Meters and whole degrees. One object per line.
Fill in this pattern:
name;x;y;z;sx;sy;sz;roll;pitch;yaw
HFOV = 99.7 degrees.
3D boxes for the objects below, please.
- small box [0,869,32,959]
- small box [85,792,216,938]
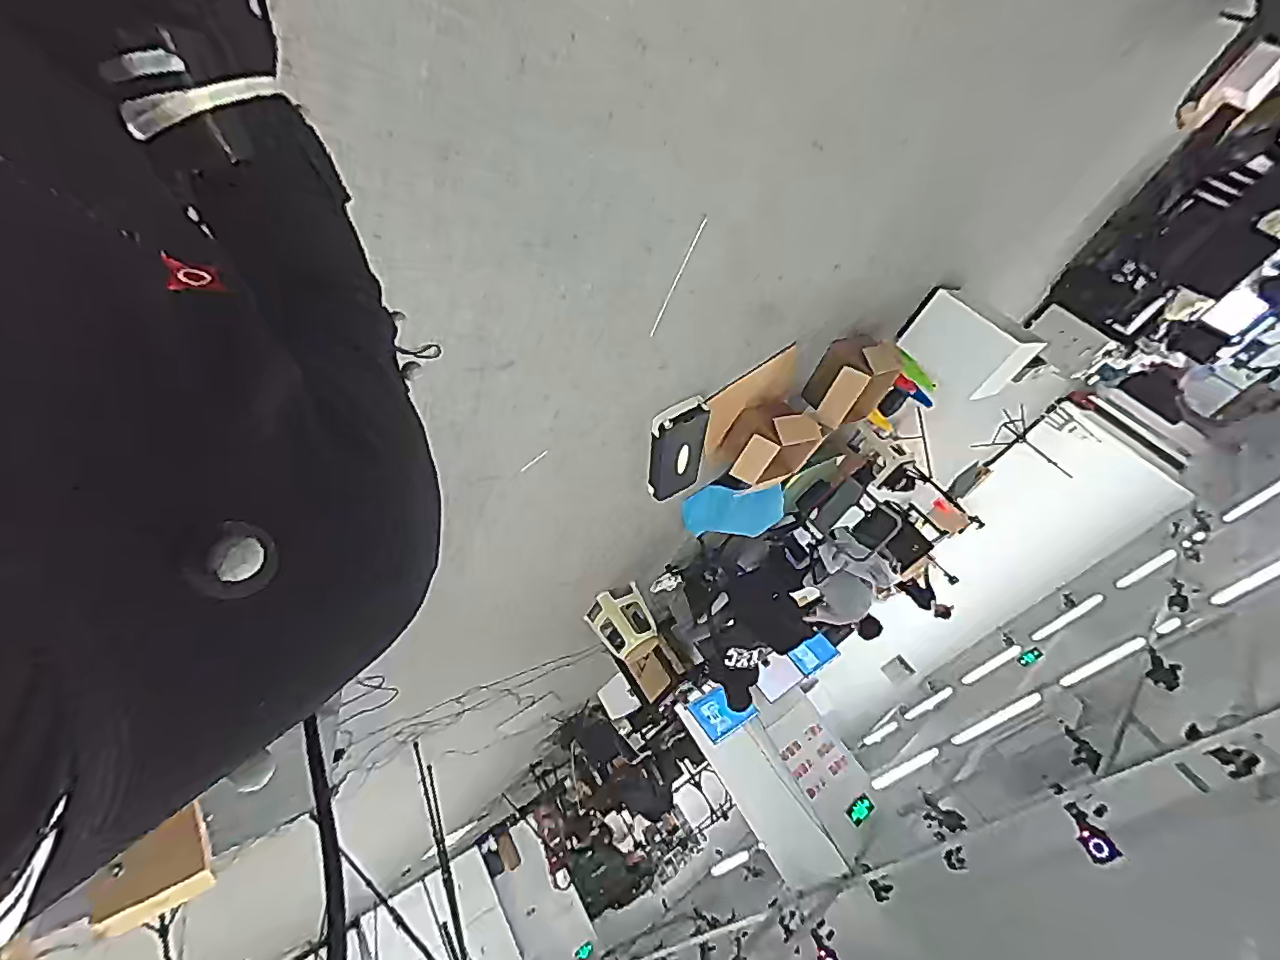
small box;-1.210;0.823;0.938;0.179;0.176;0.168;-12;144;-40
small box;-1.020;0.798;1.130;0.179;0.176;0.168;-15;147;-39
